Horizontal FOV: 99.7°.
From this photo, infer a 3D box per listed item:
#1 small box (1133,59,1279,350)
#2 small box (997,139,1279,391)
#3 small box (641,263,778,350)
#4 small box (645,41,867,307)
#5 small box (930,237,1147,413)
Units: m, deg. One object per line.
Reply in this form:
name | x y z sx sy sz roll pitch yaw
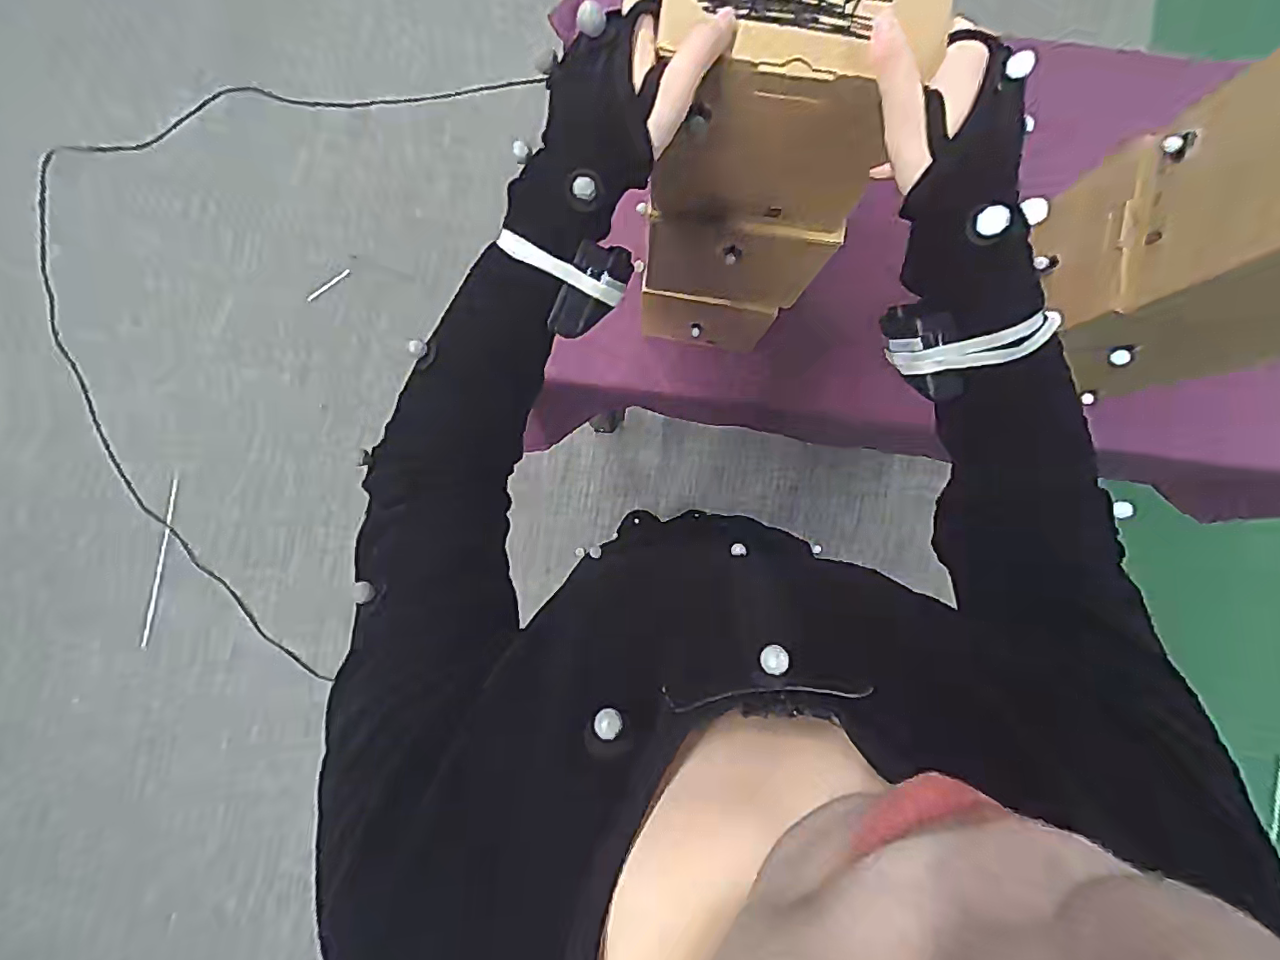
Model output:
small box | 0.513 -0.203 0.382 0.179 0.176 0.168 13 88 -1
small box | 0.506 -0.198 0.547 0.179 0.176 0.168 13 88 1
small box | 0.098 -0.286 0.717 0.168 0.176 0.179 10 88 0
small box | 0.103 -0.292 0.554 0.179 0.176 0.168 9 89 0
small box | 0.514 -0.190 0.711 0.179 0.176 0.168 9 88 0
